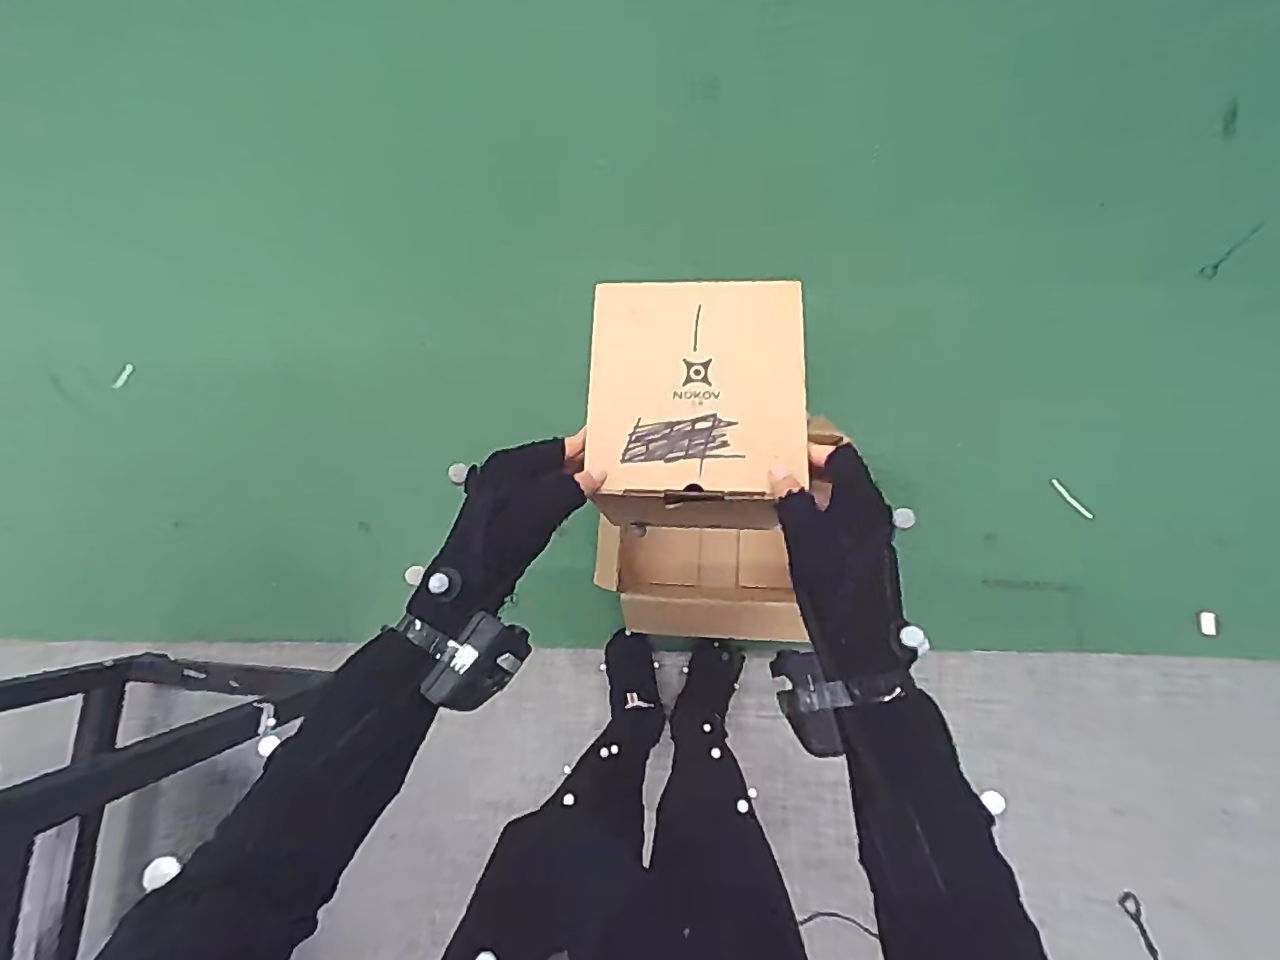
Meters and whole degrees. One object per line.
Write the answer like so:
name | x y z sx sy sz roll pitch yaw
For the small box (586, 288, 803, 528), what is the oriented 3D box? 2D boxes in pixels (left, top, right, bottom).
small box | 0.051 -0.053 0.499 0.168 0.176 0.179 1 76 5
